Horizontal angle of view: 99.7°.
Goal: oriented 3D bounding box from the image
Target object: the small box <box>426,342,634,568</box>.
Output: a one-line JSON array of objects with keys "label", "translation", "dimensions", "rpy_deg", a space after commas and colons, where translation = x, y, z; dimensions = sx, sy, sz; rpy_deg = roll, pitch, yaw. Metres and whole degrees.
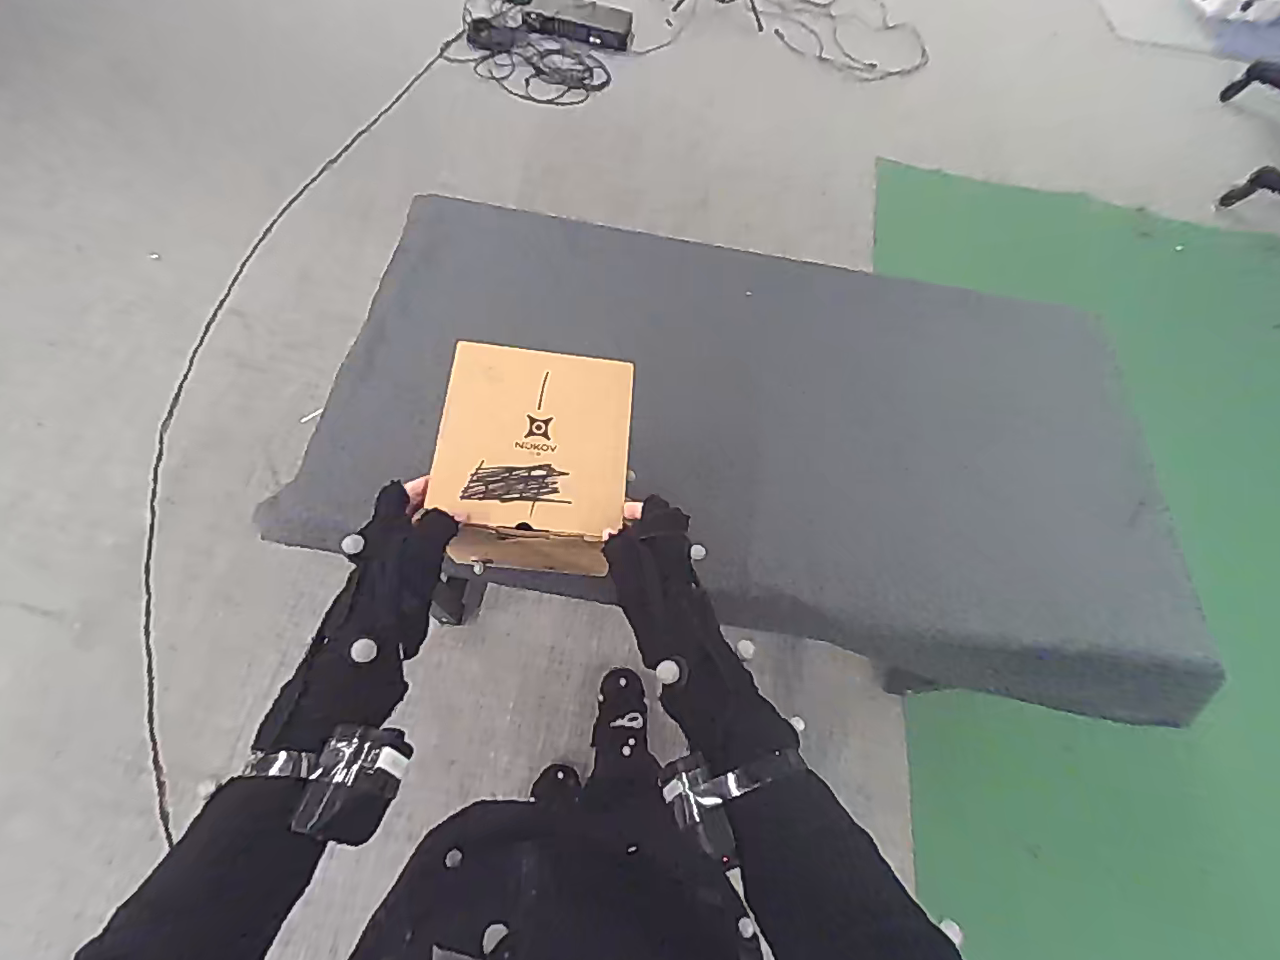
[{"label": "small box", "translation": [-0.103, -0.013, 0.558], "dimensions": [0.168, 0.176, 0.179], "rpy_deg": [6, 68, -7]}]
